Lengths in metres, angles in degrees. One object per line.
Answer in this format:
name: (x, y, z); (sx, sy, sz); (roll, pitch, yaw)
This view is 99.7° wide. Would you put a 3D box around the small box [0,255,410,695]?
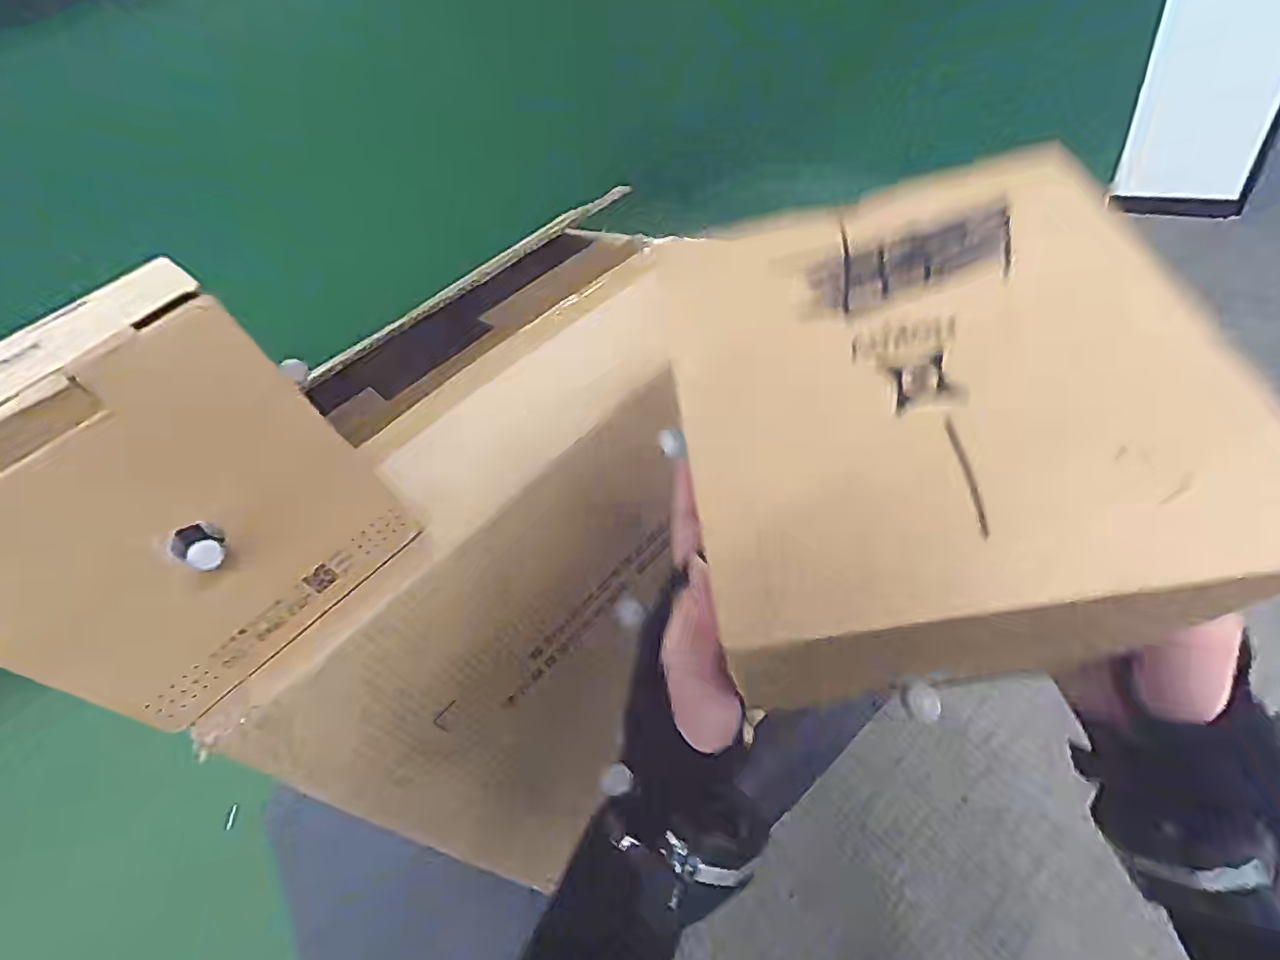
small box: (-0.272, -0.003, 0.317); (0.168, 0.176, 0.179); (-44, 47, -20)
